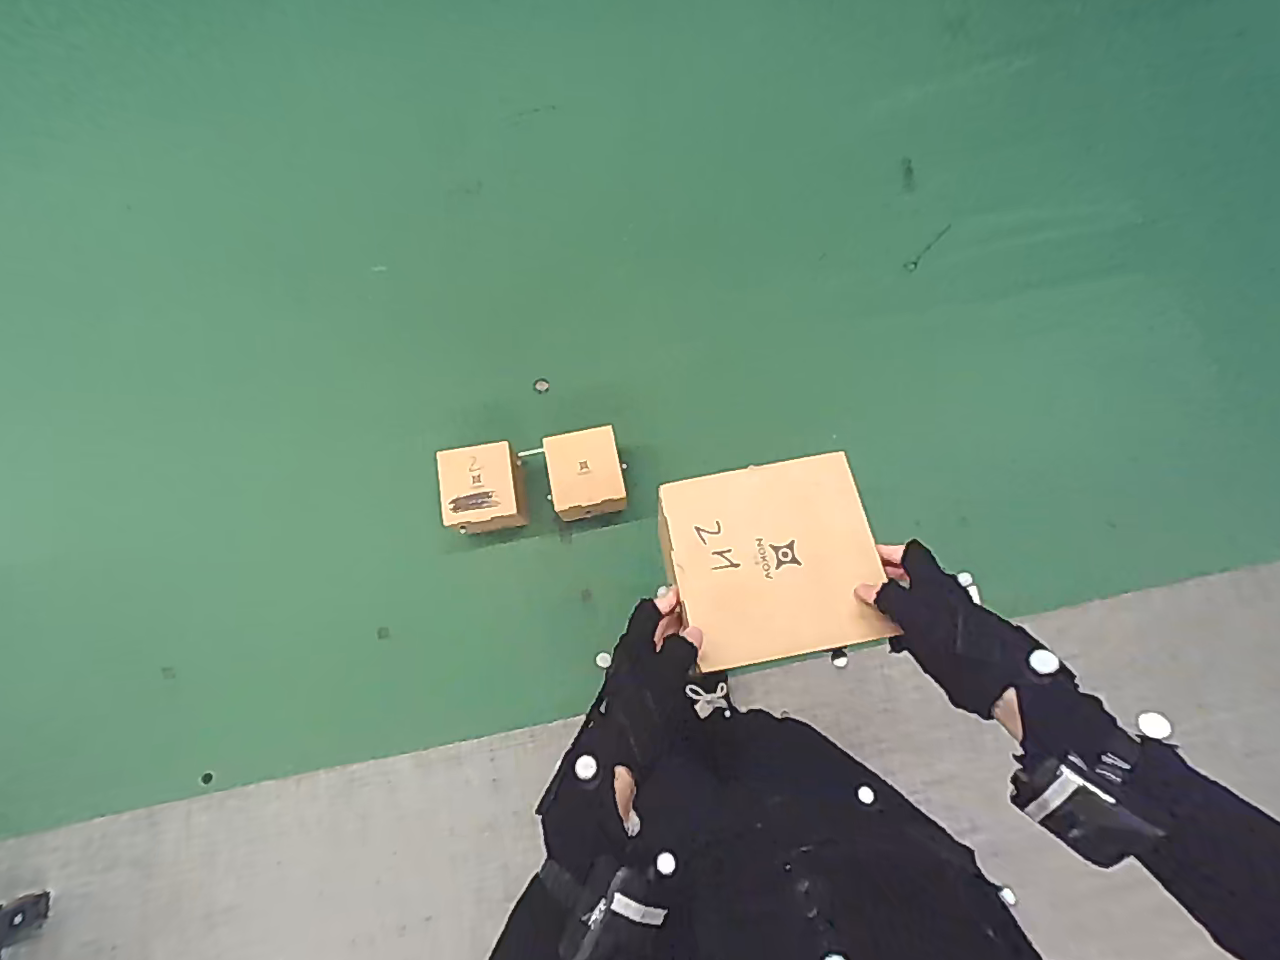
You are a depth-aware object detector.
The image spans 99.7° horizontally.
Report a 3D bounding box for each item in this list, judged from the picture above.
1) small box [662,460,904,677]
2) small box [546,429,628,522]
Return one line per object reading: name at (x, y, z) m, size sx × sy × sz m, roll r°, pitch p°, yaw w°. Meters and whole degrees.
small box at (0.121, 0.096, 0.540) m, size 0.179 × 0.176 × 0.168 m, roll -10°, pitch 70°, yaw -2°
small box at (-0.128, -0.006, 1.315) m, size 0.168 × 0.176 × 0.179 m, roll -11°, pitch 79°, yaw -5°
